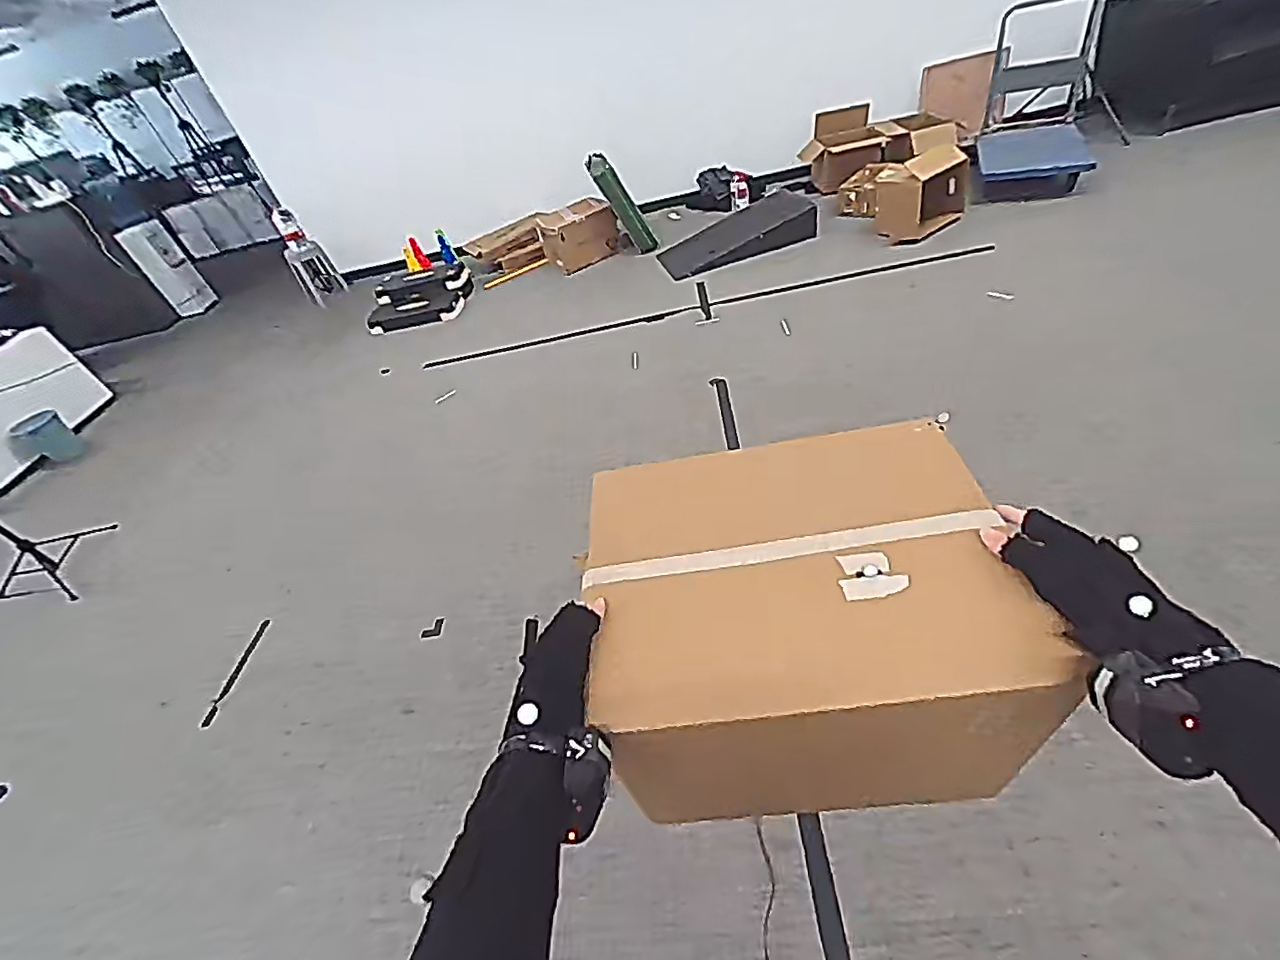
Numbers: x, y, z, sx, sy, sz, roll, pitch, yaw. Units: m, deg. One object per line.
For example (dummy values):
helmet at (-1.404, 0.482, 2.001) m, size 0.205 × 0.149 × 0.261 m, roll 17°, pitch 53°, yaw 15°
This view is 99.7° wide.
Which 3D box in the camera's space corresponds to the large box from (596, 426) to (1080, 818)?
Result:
large box at (0.175, 0.178, 0.652) m, size 0.408 × 0.320 × 0.320 m, roll -9°, pitch 45°, yaw 6°
